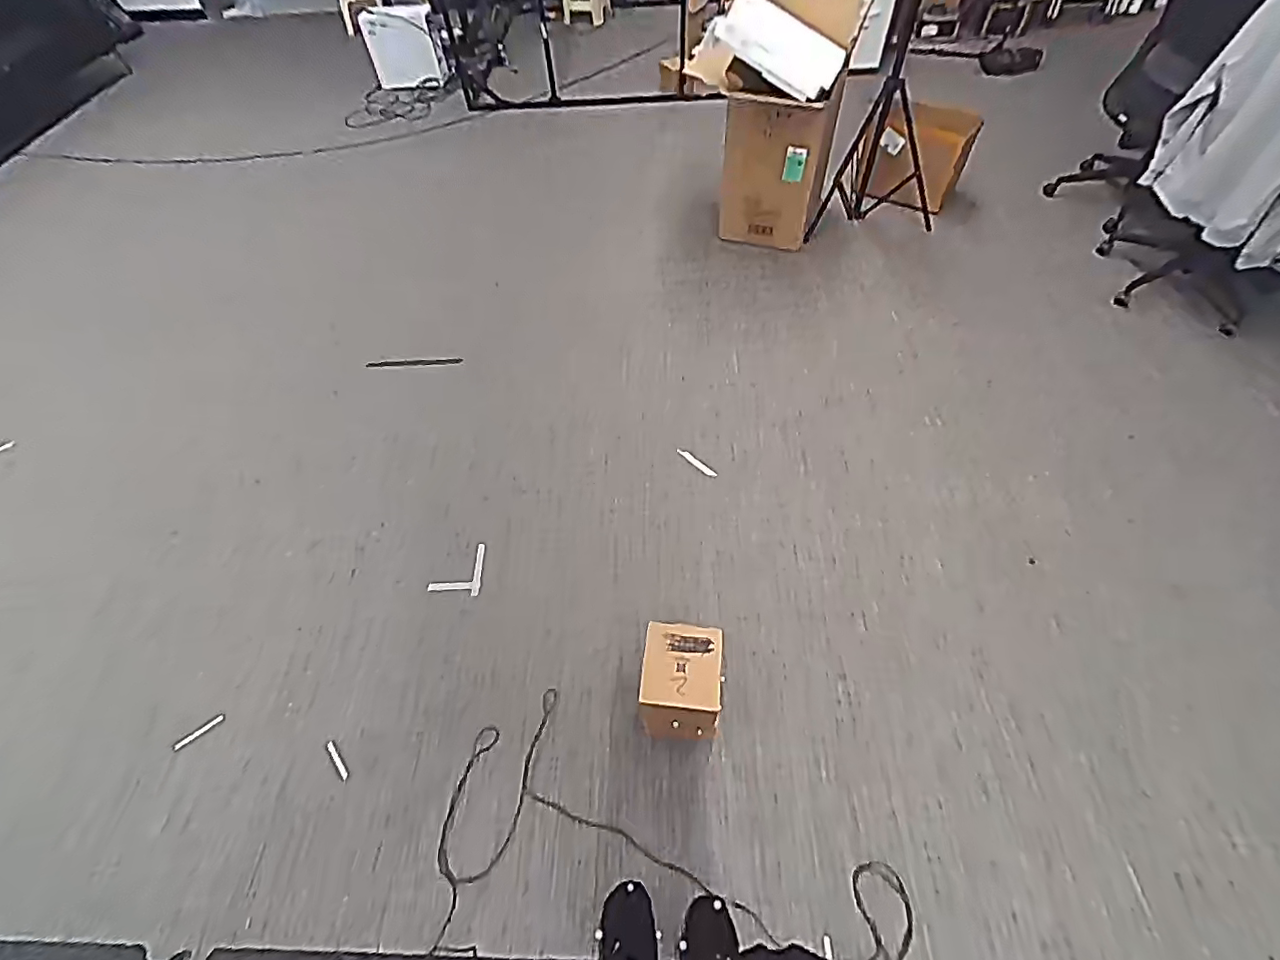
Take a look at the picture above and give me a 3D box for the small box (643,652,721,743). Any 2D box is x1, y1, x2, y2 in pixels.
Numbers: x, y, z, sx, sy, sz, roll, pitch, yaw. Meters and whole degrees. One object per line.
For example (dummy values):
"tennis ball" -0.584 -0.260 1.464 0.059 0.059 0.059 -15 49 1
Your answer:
"small box" 0.106 0.540 1.333 0.179 0.176 0.168 3 54 6
